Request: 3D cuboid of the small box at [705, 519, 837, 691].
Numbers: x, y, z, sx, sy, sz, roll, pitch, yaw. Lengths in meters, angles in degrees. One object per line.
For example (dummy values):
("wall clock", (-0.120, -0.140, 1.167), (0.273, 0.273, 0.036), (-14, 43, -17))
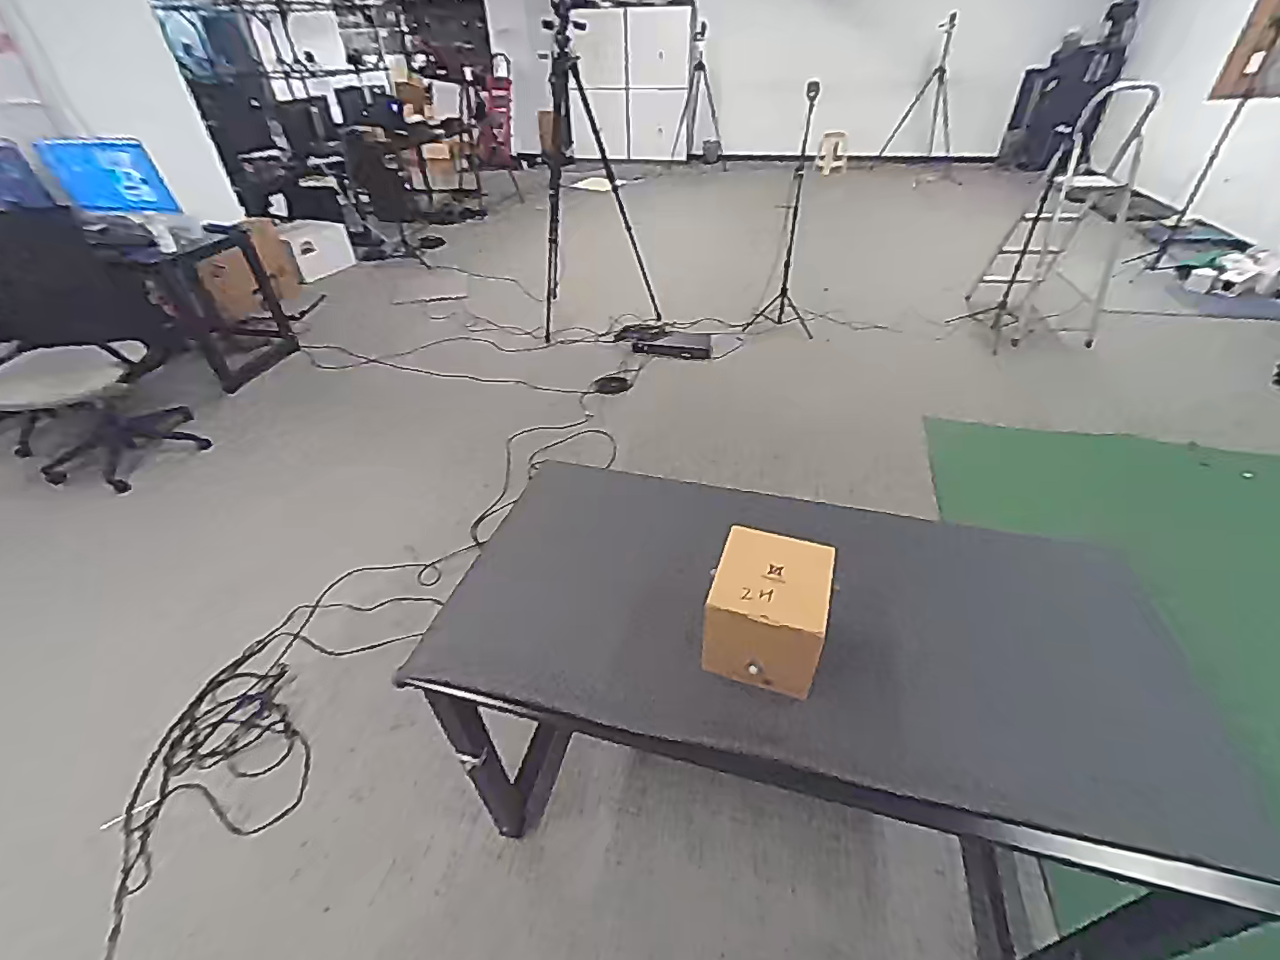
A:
("small box", (0.202, 0.193, 0.849), (0.168, 0.176, 0.179), (11, 40, 17))
